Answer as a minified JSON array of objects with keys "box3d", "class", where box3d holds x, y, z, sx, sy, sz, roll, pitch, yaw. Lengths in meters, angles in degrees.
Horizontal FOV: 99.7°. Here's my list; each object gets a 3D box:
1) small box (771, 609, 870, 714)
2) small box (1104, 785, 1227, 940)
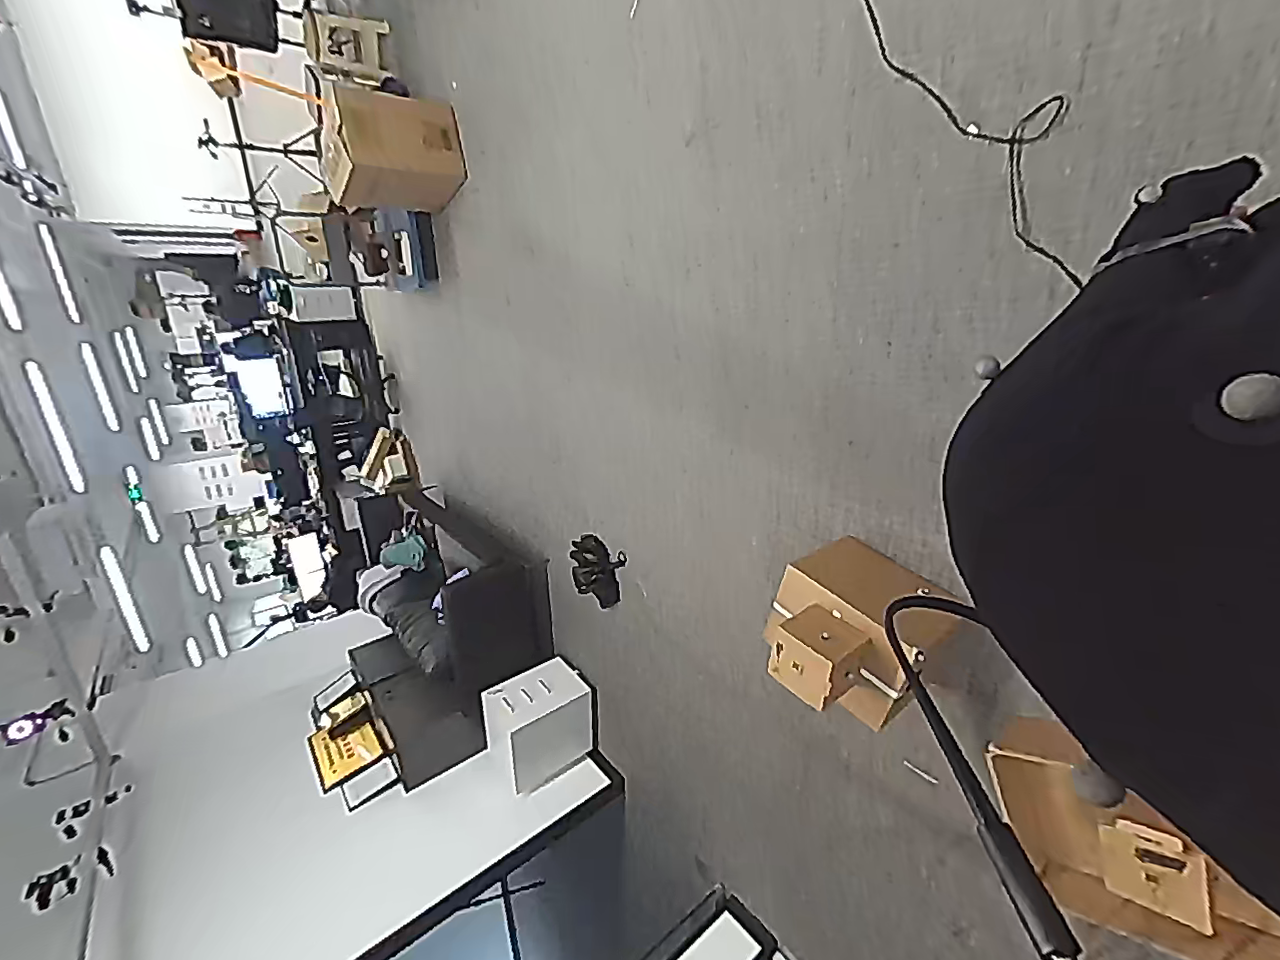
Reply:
[{"box3d":[0.479,0.471,1.435,0.179,0.176,0.168,29,125,44],"class":"small box"},{"box3d":[1.121,0.798,1.154,0.168,0.176,0.179,-3,102,53],"class":"small box"}]
